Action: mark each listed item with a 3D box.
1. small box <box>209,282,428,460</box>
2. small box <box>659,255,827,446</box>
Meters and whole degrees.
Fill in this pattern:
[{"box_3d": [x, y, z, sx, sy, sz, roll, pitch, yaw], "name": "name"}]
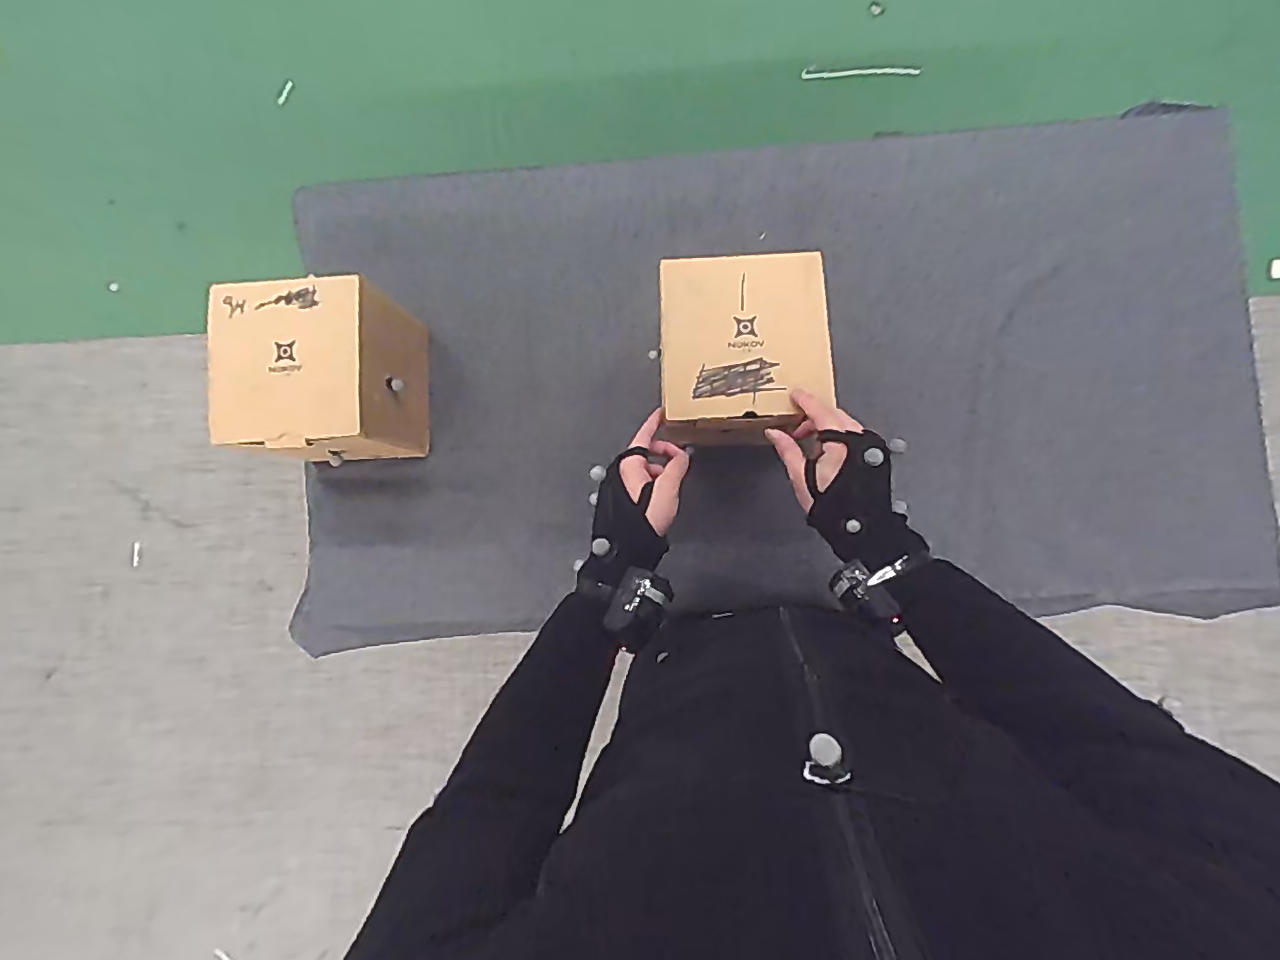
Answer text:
[{"box_3d": [-0.366, -0.115, 0.644, 0.168, 0.176, 0.179, -3, 87, 1], "name": "small box"}, {"box_3d": [0.108, -0.132, 0.619, 0.168, 0.176, 0.179, -1, 85, 3], "name": "small box"}]
